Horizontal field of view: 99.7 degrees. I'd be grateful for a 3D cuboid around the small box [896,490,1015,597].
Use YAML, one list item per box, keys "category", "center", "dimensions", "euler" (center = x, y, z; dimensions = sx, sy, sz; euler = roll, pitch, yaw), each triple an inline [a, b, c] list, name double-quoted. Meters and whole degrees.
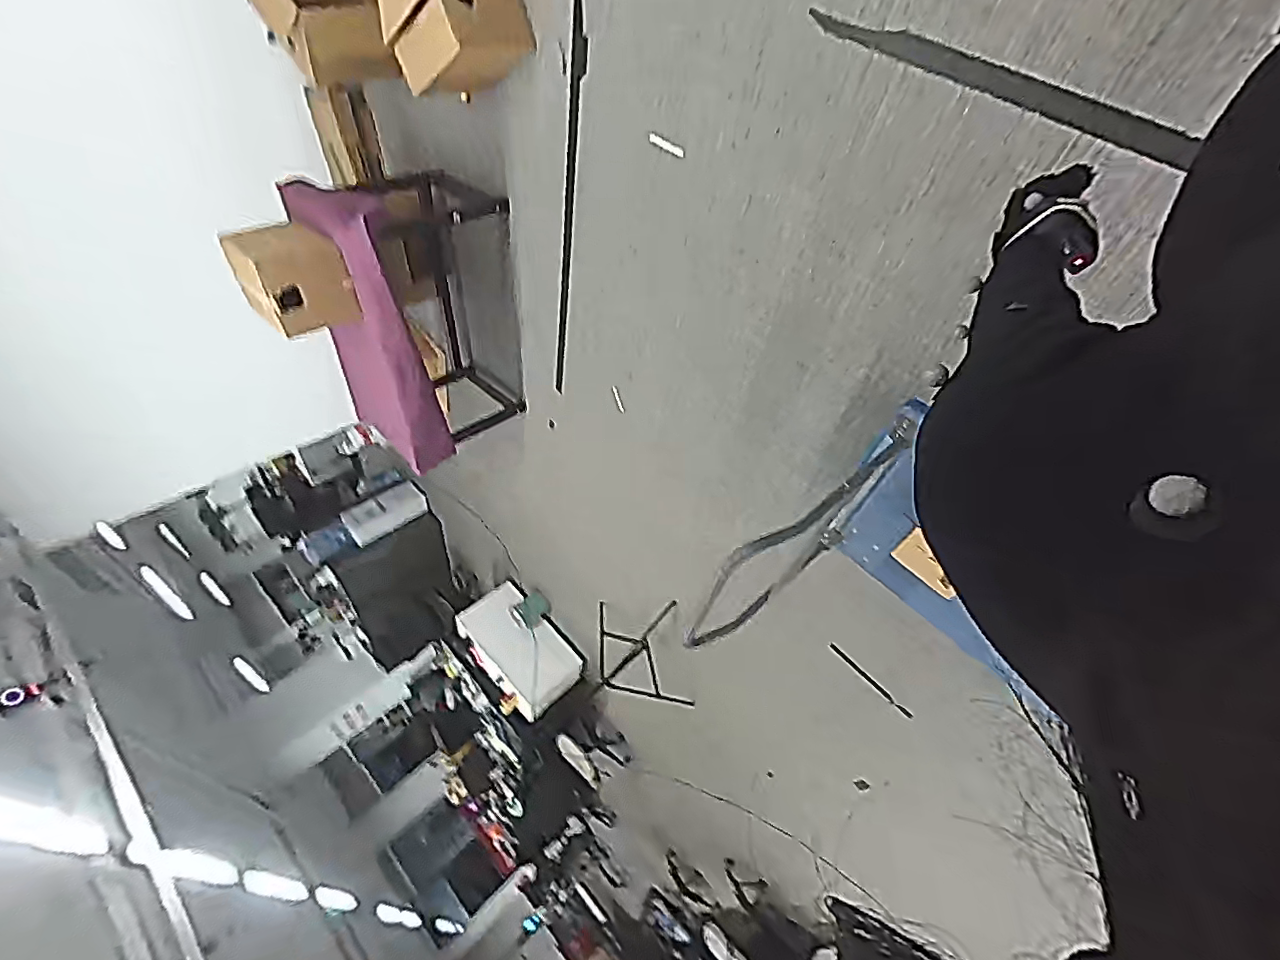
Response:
- category: "small box"
  center: [0.803, 0.156, 1.376]
  dimensions: [0.179, 0.176, 0.168]
  euler: [43, 145, 21]
